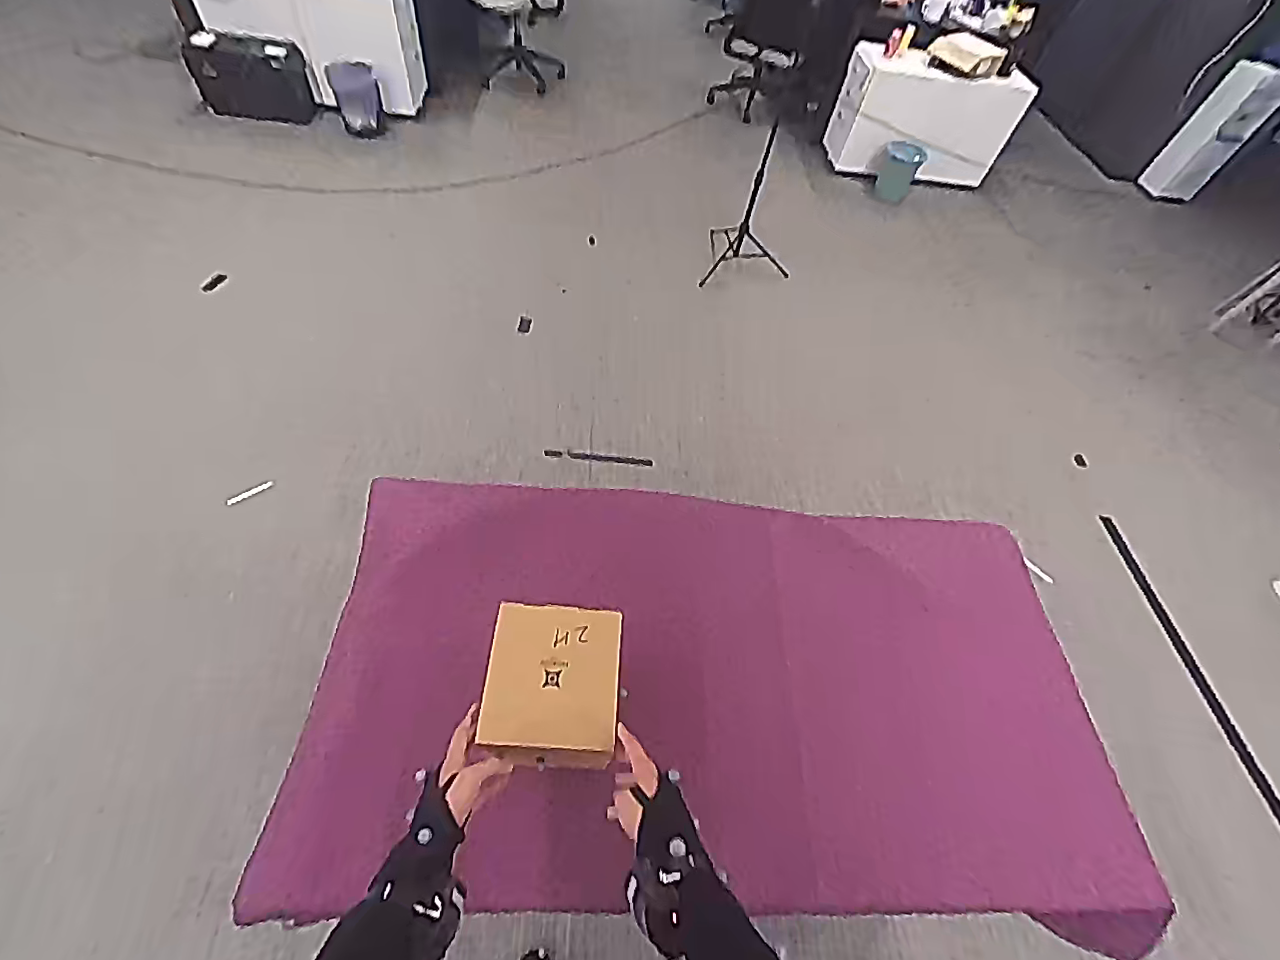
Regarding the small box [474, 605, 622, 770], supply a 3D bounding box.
[{"bbox_3d":[-0.119,0.292,0.748,0.168,0.176,0.179,6,54,-5],"label":"small box"}]
